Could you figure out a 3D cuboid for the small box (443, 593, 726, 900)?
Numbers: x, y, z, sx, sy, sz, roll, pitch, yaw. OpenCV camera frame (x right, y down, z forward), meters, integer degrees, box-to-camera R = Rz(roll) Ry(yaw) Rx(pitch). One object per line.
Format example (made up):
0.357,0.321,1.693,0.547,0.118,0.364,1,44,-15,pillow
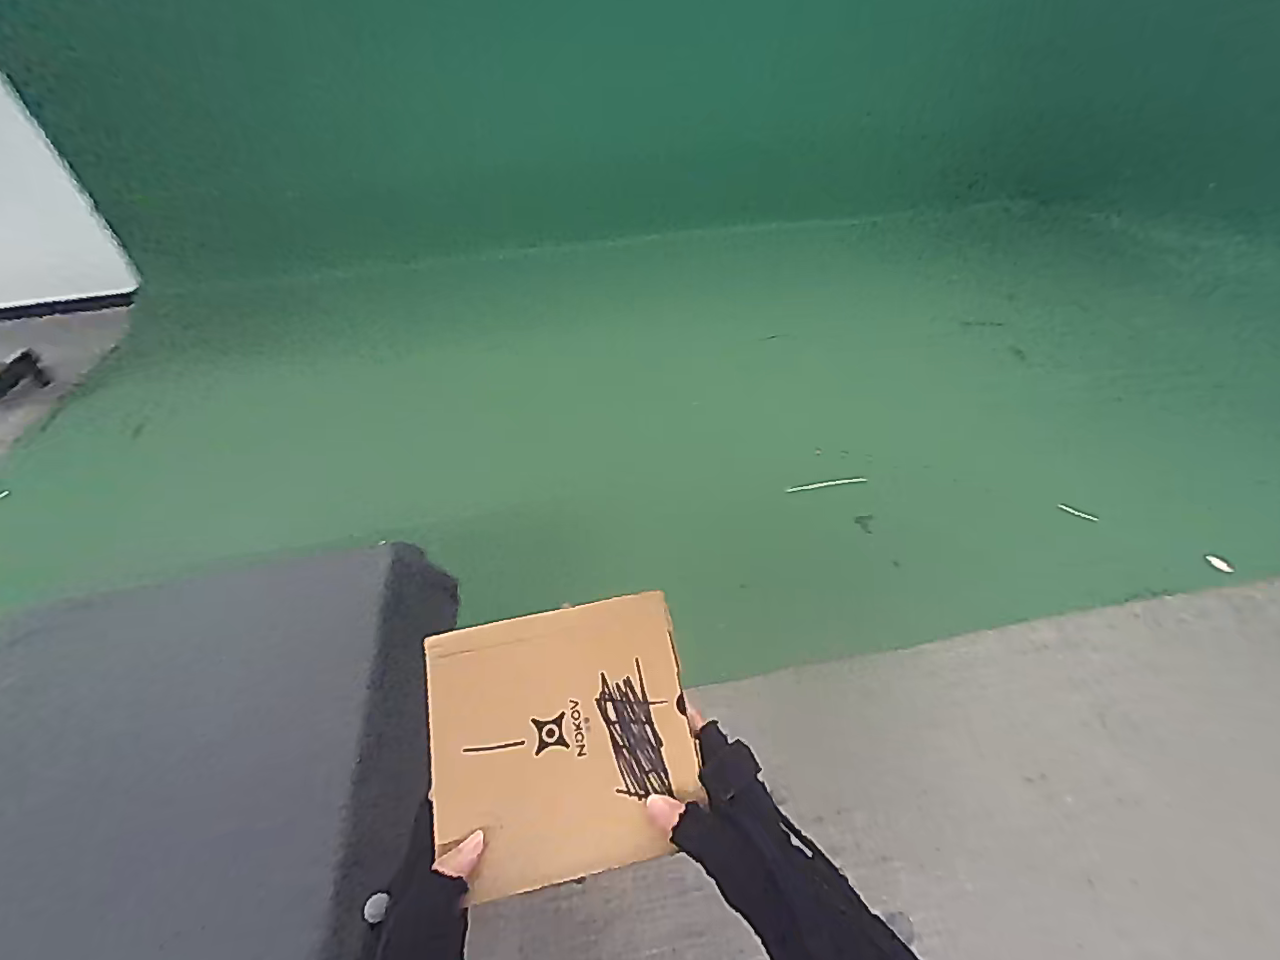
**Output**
-0.046,0.201,0.440,0.179,0.176,0.168,-9,66,-5,small box
